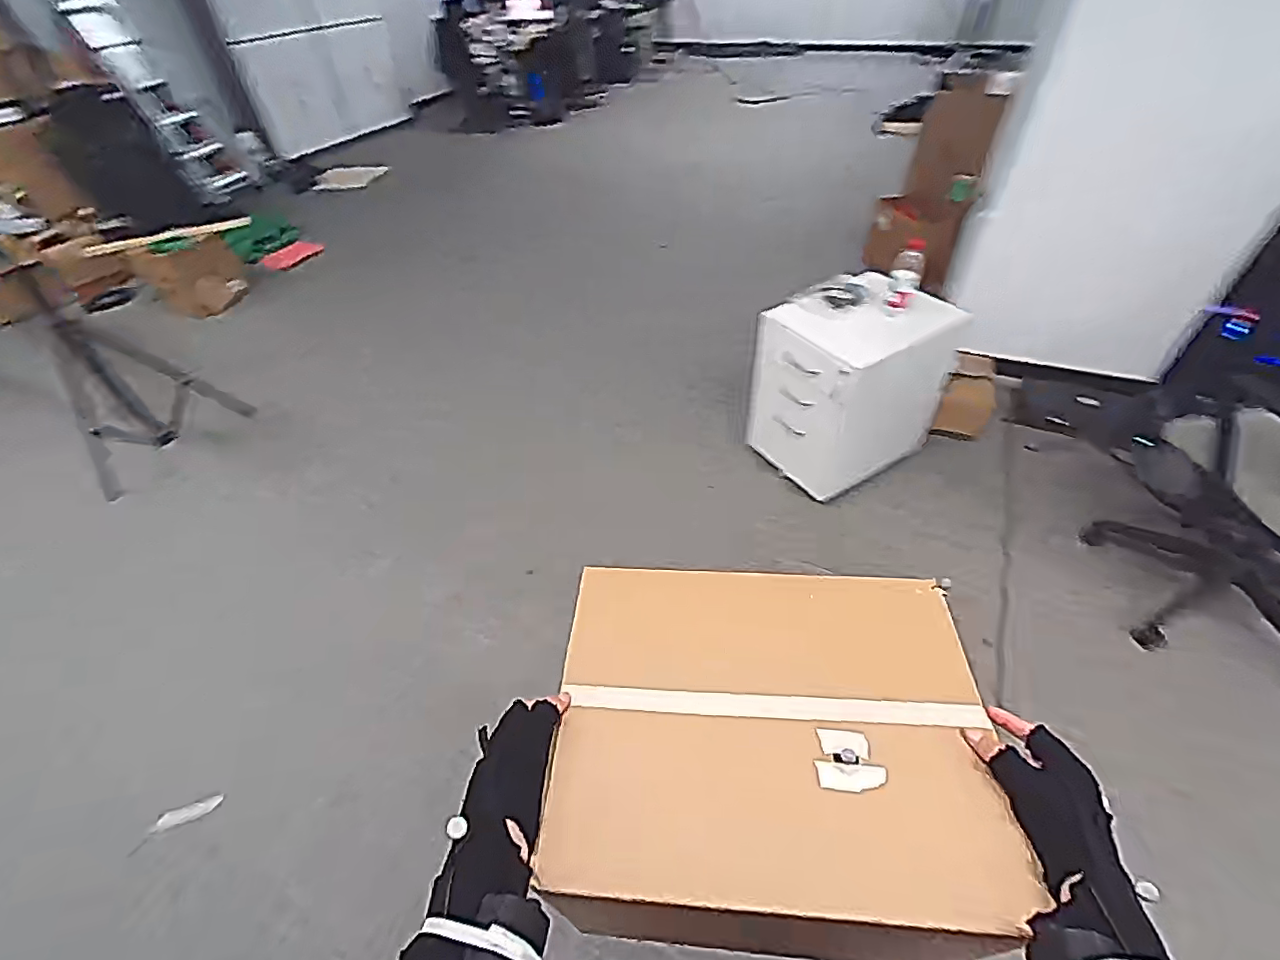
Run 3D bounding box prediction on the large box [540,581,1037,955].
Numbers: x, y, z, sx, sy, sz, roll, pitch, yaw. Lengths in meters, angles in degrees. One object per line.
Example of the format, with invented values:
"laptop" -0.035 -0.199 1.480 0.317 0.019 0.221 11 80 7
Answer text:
"large box" 0.127 0.336 0.640 0.408 0.320 0.320 0 46 5
